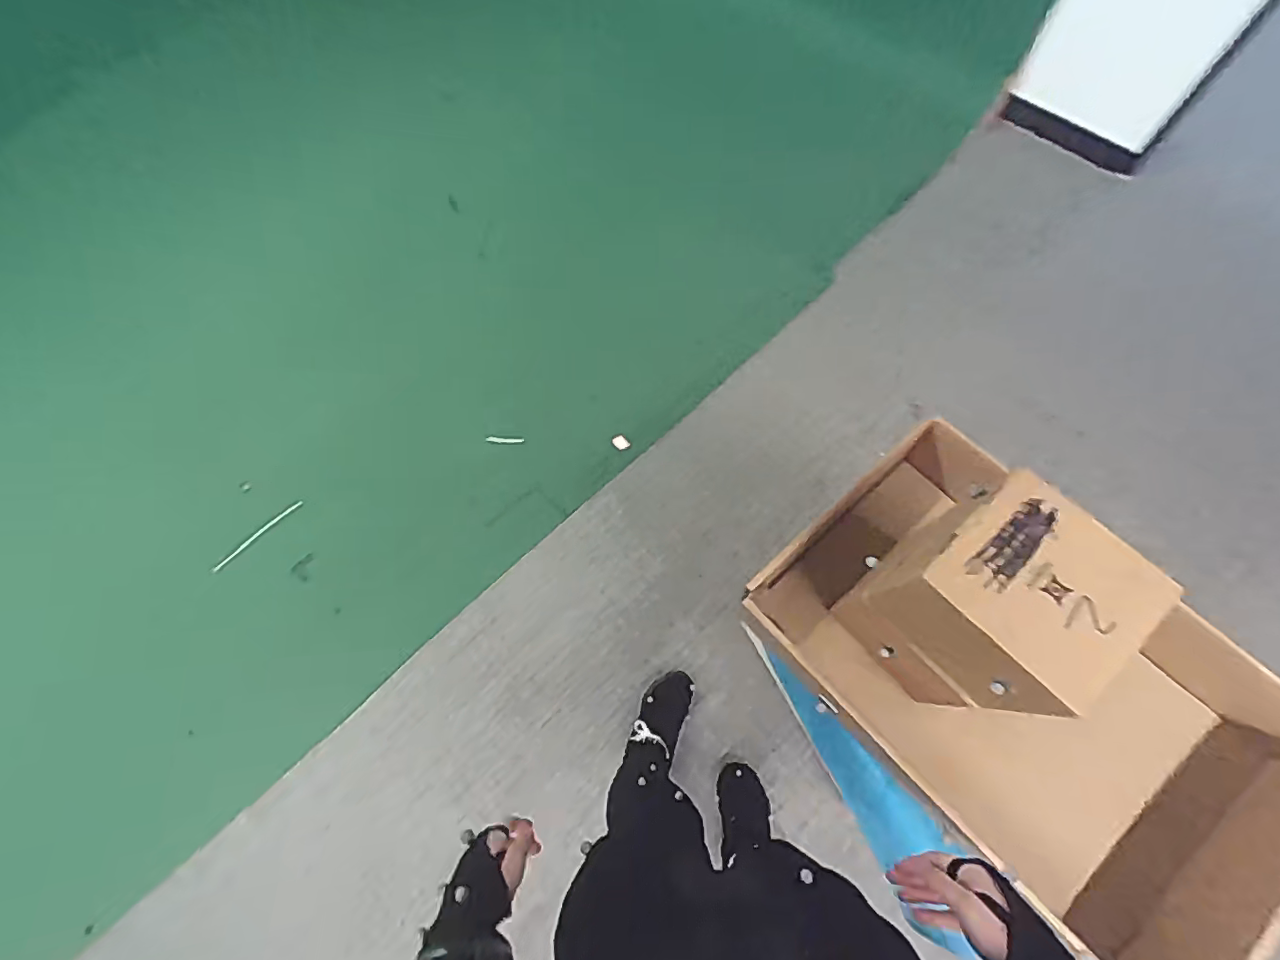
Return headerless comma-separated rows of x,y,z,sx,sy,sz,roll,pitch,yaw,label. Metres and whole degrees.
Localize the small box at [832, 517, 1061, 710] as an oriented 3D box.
0.399,0.181,0.738,0.168,0.176,0.179,-40,73,-10,small box
